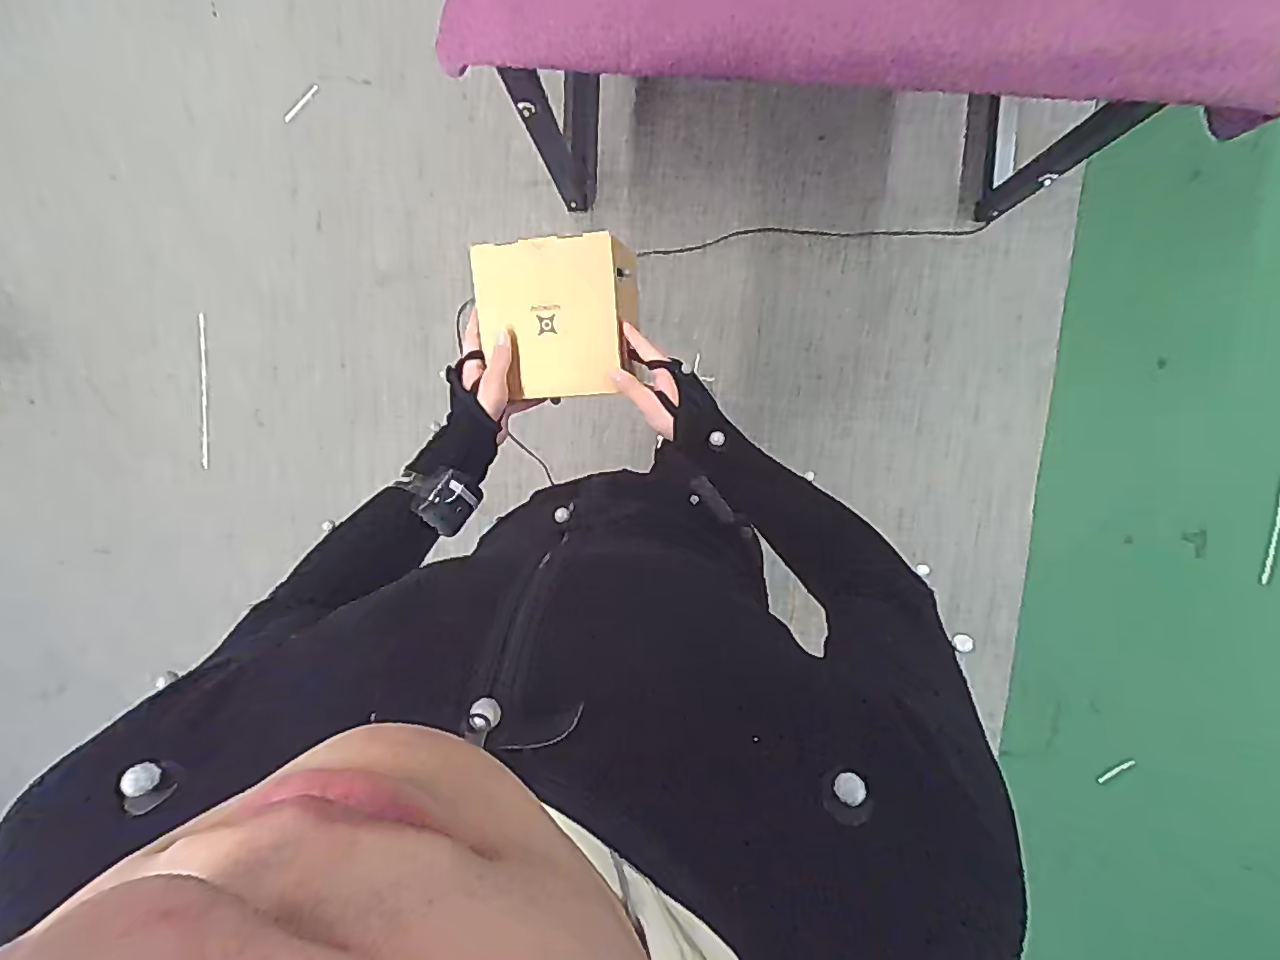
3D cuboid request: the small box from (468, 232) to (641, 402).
[{"bbox_3d":[-0.094,-0.197,0.683,0.168,0.176,0.179,-2,103,9],"label":"small box"}]
